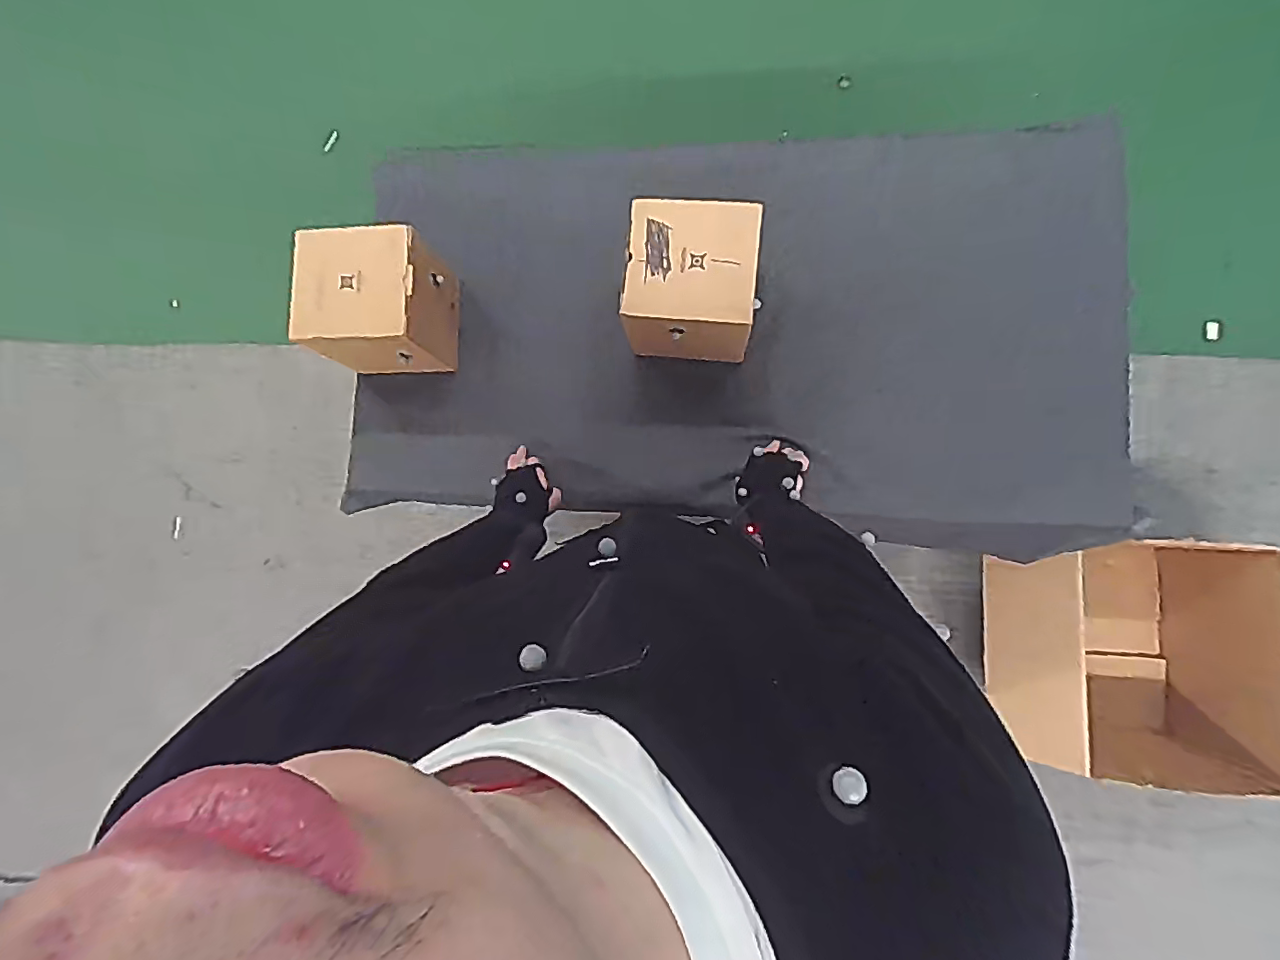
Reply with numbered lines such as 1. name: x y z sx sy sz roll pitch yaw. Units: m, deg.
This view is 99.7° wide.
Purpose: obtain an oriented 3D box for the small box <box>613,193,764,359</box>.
1. small box: 0.071 -0.285 0.785 0.179 0.176 0.168 9 88 6

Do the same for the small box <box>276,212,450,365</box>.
1. small box: -0.405 -0.278 0.819 0.179 0.176 0.168 -1 84 7
